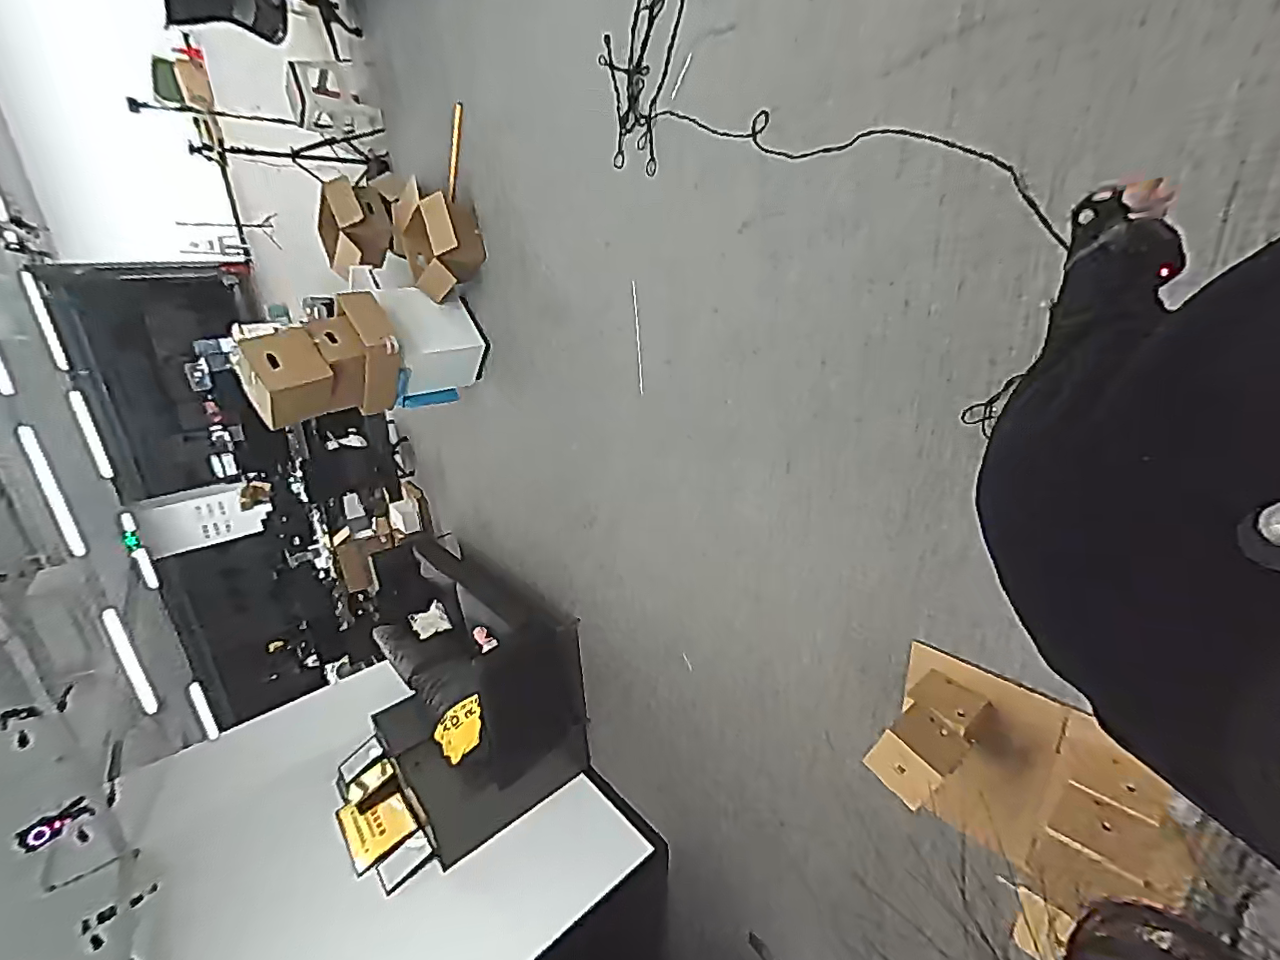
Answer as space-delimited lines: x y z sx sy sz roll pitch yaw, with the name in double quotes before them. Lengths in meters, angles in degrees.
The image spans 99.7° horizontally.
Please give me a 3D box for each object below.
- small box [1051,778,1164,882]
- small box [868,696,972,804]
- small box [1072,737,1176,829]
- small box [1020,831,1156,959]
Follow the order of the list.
"small box" 1.027 0.813 1.200 0.168 0.176 0.179 17 119 48
"small box" 0.771 0.736 1.486 0.168 0.176 0.179 41 134 35
"small box" 1.149 0.762 1.297 0.168 0.176 0.179 16 119 48
"small box" 0.909 0.871 1.099 0.179 0.176 0.168 15 118 49
